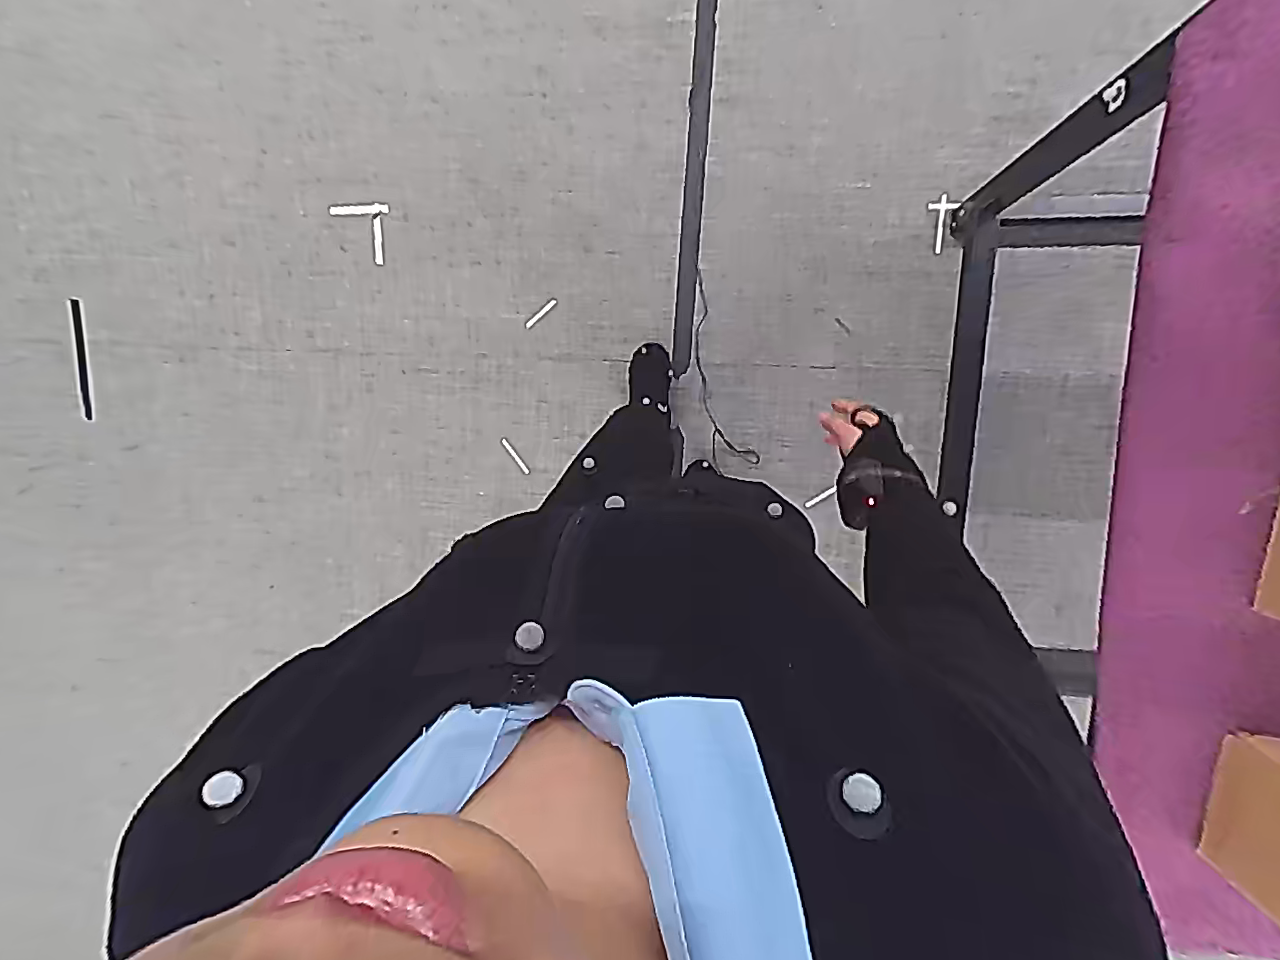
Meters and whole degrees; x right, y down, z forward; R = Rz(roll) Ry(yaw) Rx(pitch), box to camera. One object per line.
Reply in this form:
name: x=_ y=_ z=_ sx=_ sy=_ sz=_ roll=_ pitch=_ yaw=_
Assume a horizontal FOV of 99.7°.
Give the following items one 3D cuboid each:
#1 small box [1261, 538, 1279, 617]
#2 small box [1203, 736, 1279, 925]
small box: x=0.830 y=0.096 z=0.564 sx=0.168 sy=0.176 sz=0.179 roll=6 pitch=99 yaw=7
small box: x=0.810 y=0.428 z=0.611 sx=0.168 sy=0.176 sz=0.179 roll=6 pitch=97 yaw=5
